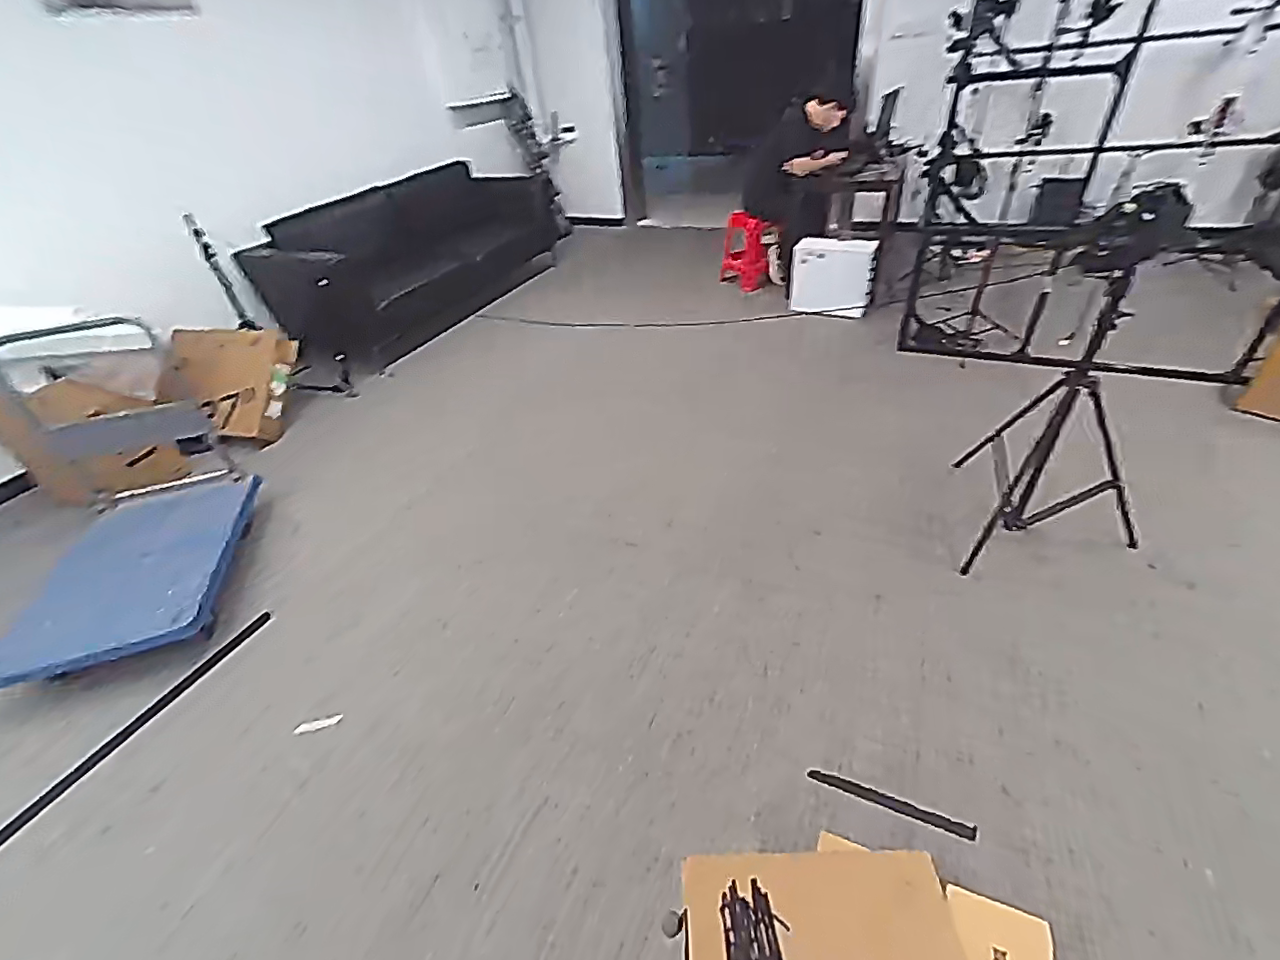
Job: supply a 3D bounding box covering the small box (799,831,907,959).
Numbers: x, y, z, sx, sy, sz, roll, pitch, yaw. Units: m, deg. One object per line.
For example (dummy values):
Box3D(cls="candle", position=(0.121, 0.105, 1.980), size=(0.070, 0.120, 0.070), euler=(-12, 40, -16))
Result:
Box3D(cls="small box", position=(0.411, 0.839, 1.054), size=(0.168, 0.176, 0.179), euler=(12, 41, 22))
